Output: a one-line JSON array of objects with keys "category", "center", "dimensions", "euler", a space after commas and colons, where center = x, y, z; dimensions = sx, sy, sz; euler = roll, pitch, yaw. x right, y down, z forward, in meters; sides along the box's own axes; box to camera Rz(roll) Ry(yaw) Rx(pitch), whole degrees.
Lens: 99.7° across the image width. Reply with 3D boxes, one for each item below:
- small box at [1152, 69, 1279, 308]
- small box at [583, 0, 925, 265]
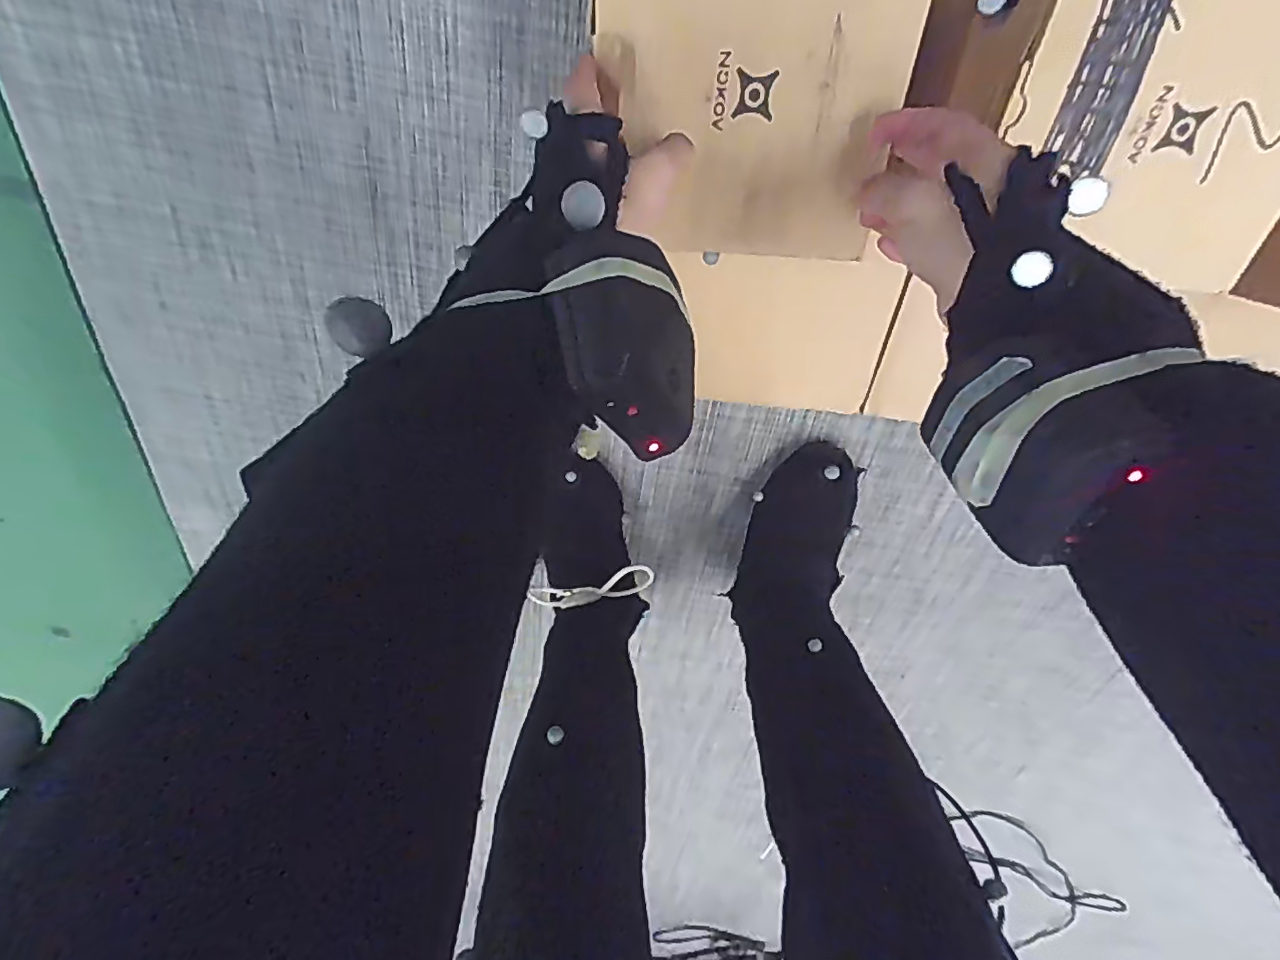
[{"category": "small box", "center": [0.530, -0.197, 0.369], "dimensions": [0.179, 0.176, 0.168], "euler": [8, 122, -1]}, {"category": "small box", "center": [0.058, -0.254, 0.367], "dimensions": [0.179, 0.176, 0.168], "euler": [3, 123, -1]}]
